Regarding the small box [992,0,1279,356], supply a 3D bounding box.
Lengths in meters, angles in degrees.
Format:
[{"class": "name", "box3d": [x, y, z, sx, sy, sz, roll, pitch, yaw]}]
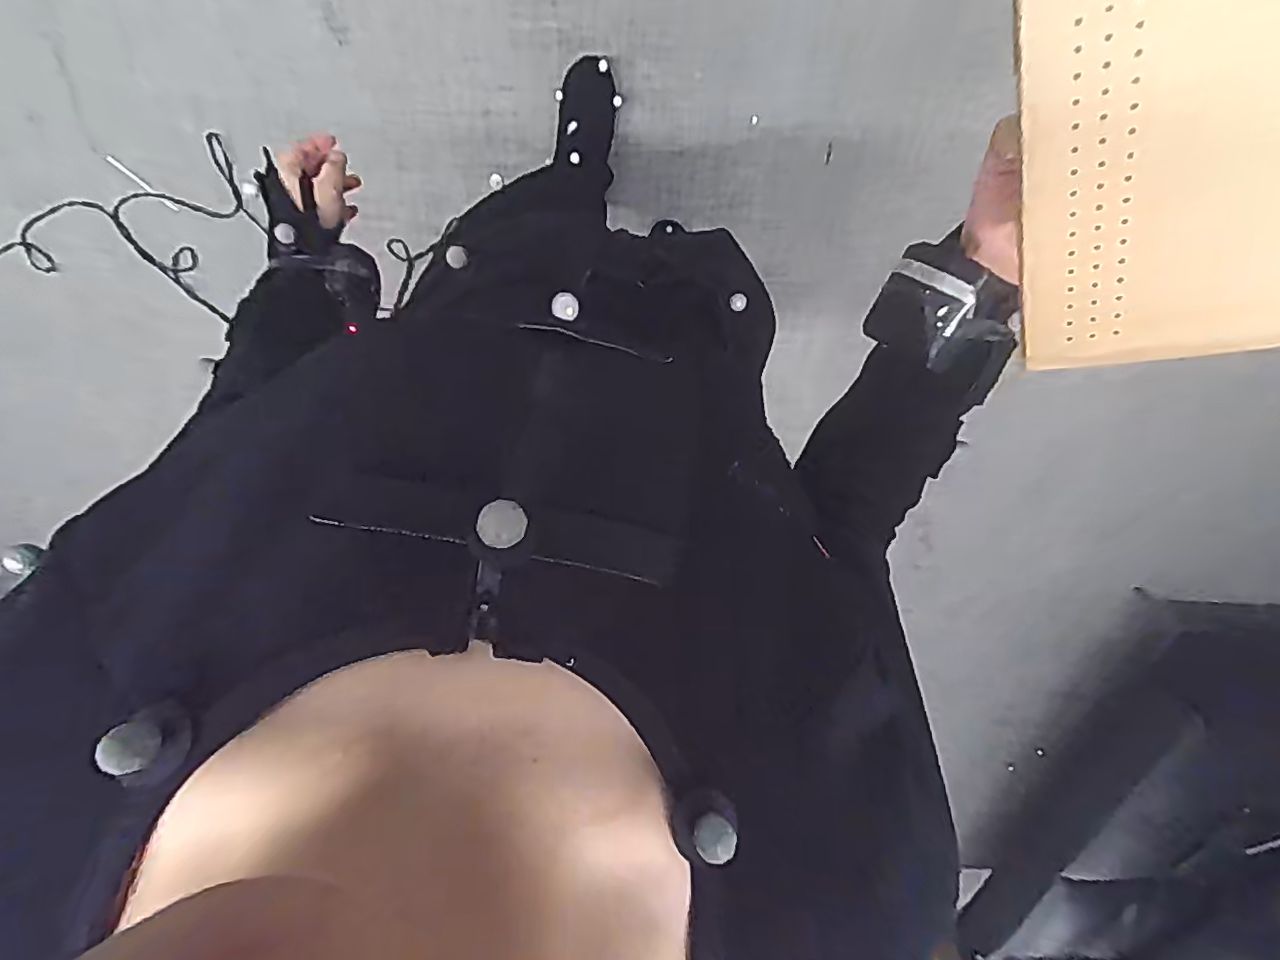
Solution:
[{"class": "small box", "box3d": [0.218, -0.163, 0.174, 0.176, 0.168, 0.179, -1, 133, 37]}]
